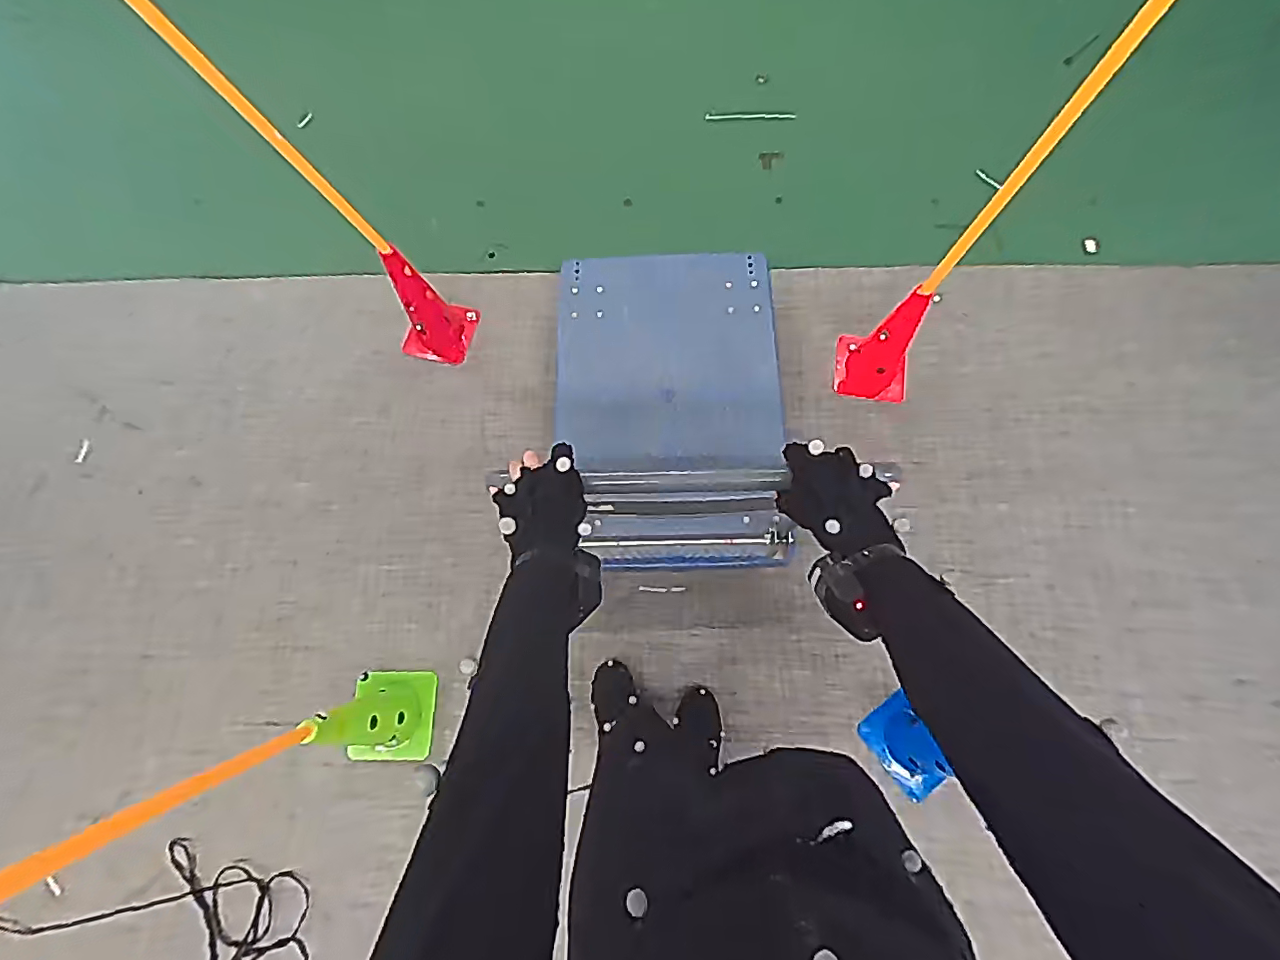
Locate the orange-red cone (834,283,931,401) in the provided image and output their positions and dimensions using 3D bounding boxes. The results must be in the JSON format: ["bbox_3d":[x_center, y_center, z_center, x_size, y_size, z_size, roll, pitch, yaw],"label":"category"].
[{"bbox_3d":[0.662,-0.381,1.410,0.198,0.360,0.199,10,73,6],"label":"orange-red cone"}]
